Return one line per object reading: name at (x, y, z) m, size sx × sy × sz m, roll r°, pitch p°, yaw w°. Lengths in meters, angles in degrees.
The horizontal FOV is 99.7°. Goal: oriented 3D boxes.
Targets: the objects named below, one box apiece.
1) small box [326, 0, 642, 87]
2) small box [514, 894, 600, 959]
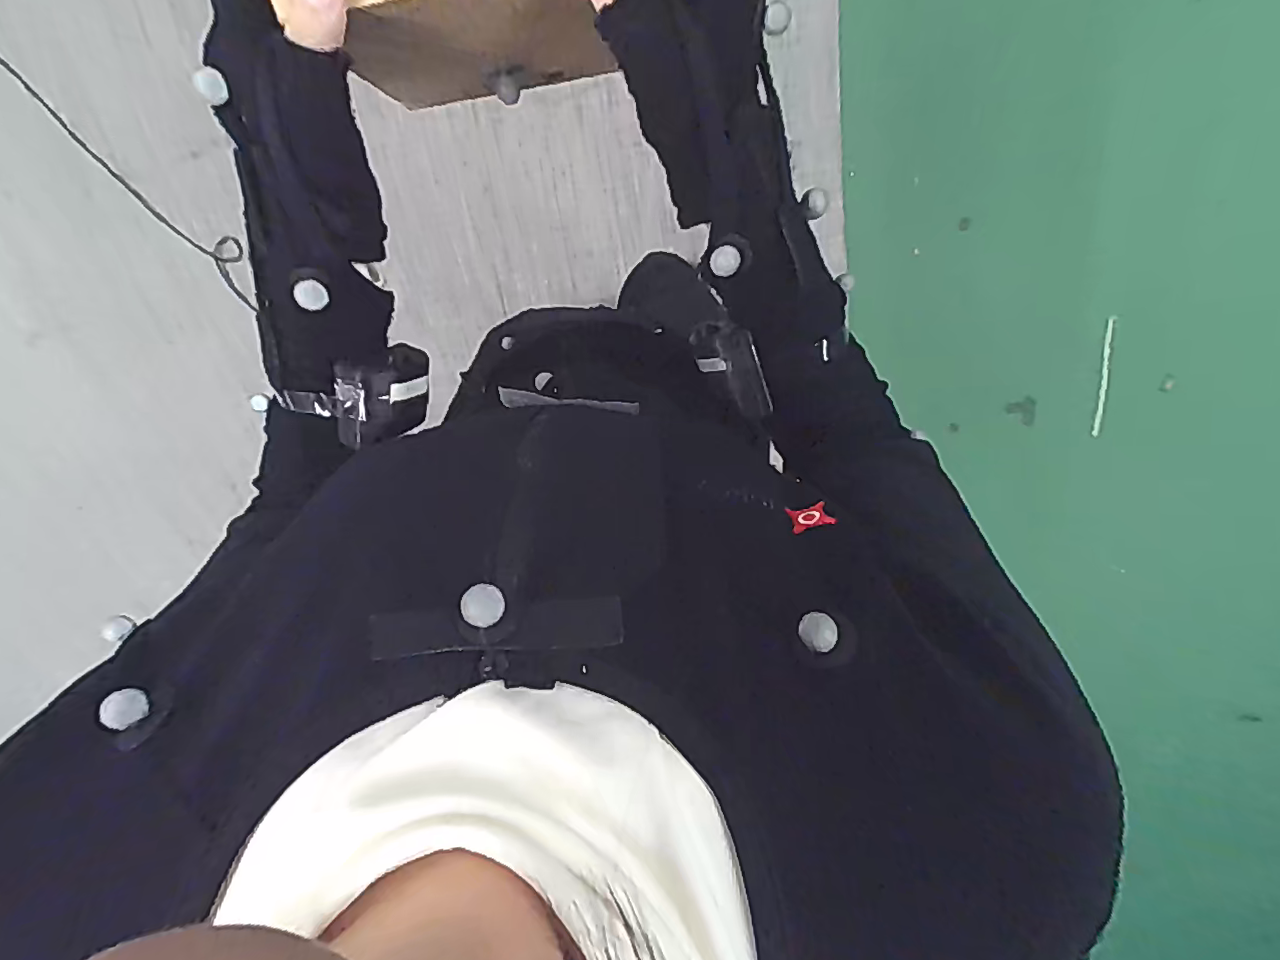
small box at (-0.090, -0.326, 0.262) m, size 0.168 × 0.176 × 0.179 m, roll -9°, pitch 115°, yaw 1°
small box at (-0.202, 1.190, 1.352) m, size 0.168 × 0.176 × 0.179 m, roll -16°, pitch 109°, yaw 2°
